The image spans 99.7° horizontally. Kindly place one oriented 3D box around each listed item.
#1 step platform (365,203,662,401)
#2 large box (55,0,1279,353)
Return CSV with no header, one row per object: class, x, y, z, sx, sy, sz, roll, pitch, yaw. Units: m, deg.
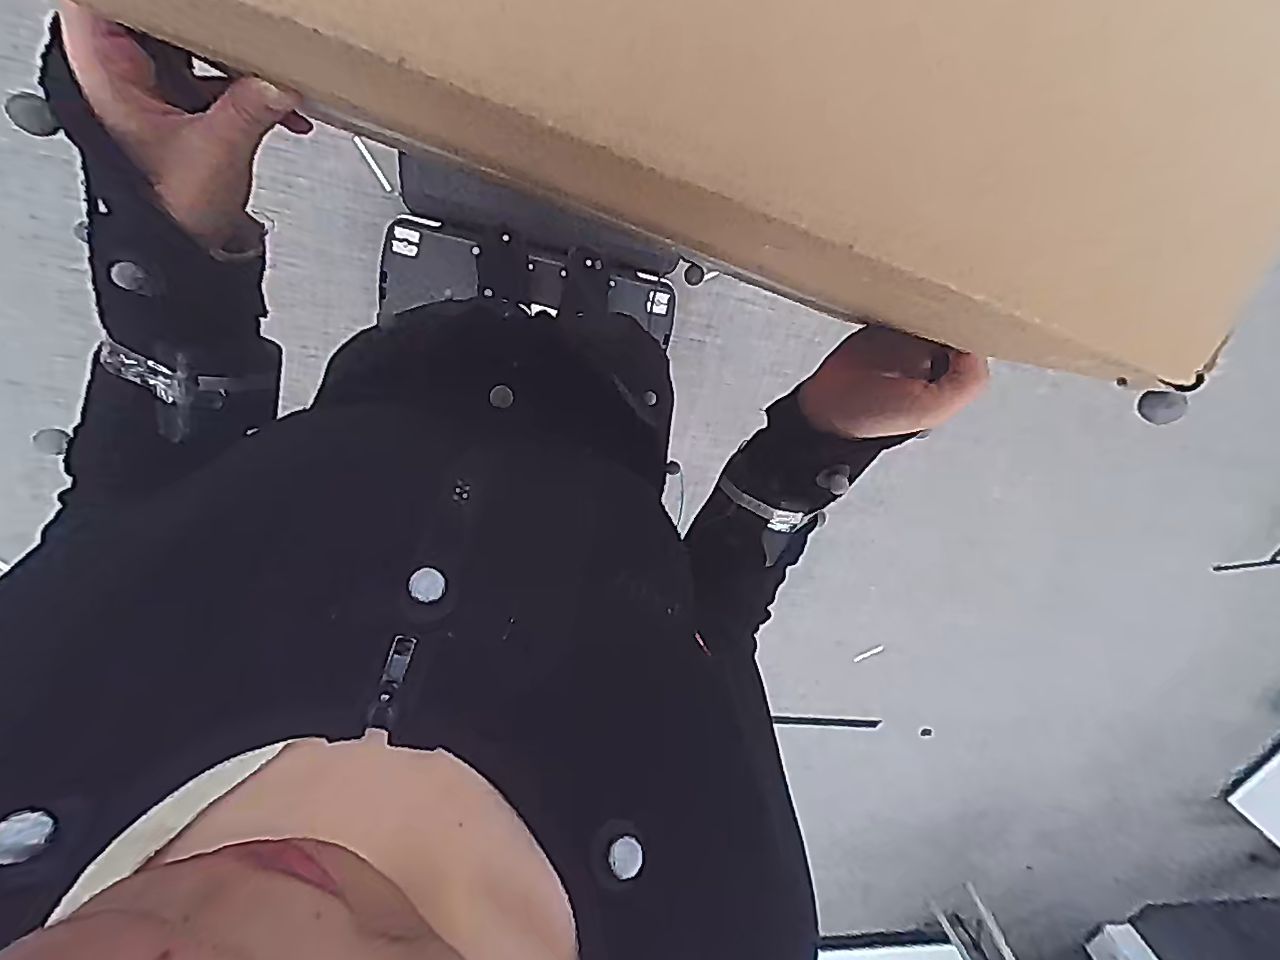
step platform,-0.291,-0.420,1.325,0.684,0.204,0.286,14,115,-14
large box,0.016,-0.280,0.219,0.408,0.320,0.320,16,112,-9
